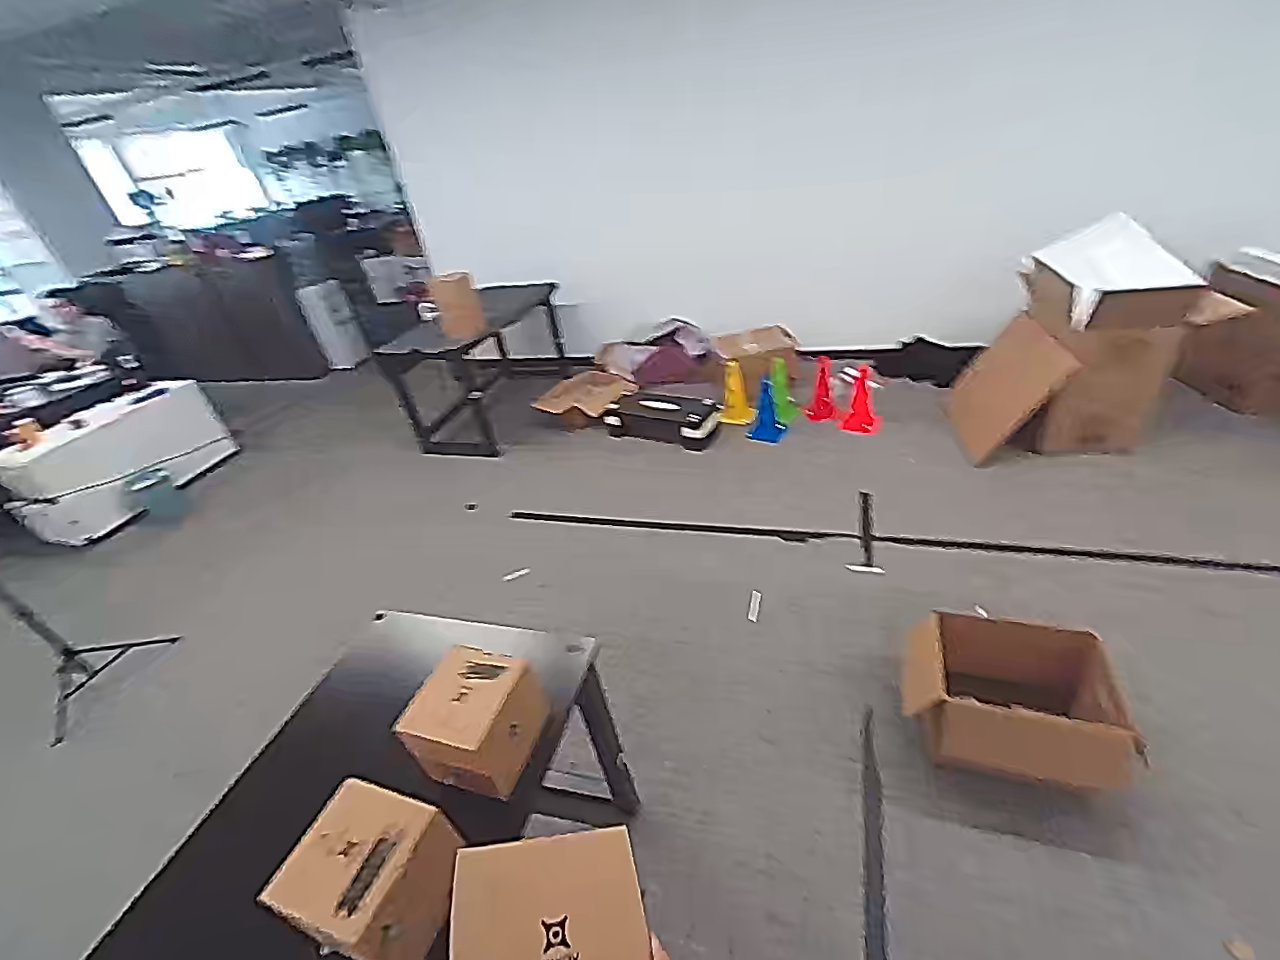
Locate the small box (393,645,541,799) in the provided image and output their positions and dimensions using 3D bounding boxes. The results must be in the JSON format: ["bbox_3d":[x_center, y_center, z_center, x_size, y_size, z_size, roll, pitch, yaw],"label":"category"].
[{"bbox_3d":[-0.295,0.430,0.972,0.168,0.176,0.179,3,37,20],"label":"small box"}]

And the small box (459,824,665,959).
[{"bbox_3d":[-0.079,0.455,0.493,0.168,0.176,0.179,3,33,-17],"label":"small box"}]
